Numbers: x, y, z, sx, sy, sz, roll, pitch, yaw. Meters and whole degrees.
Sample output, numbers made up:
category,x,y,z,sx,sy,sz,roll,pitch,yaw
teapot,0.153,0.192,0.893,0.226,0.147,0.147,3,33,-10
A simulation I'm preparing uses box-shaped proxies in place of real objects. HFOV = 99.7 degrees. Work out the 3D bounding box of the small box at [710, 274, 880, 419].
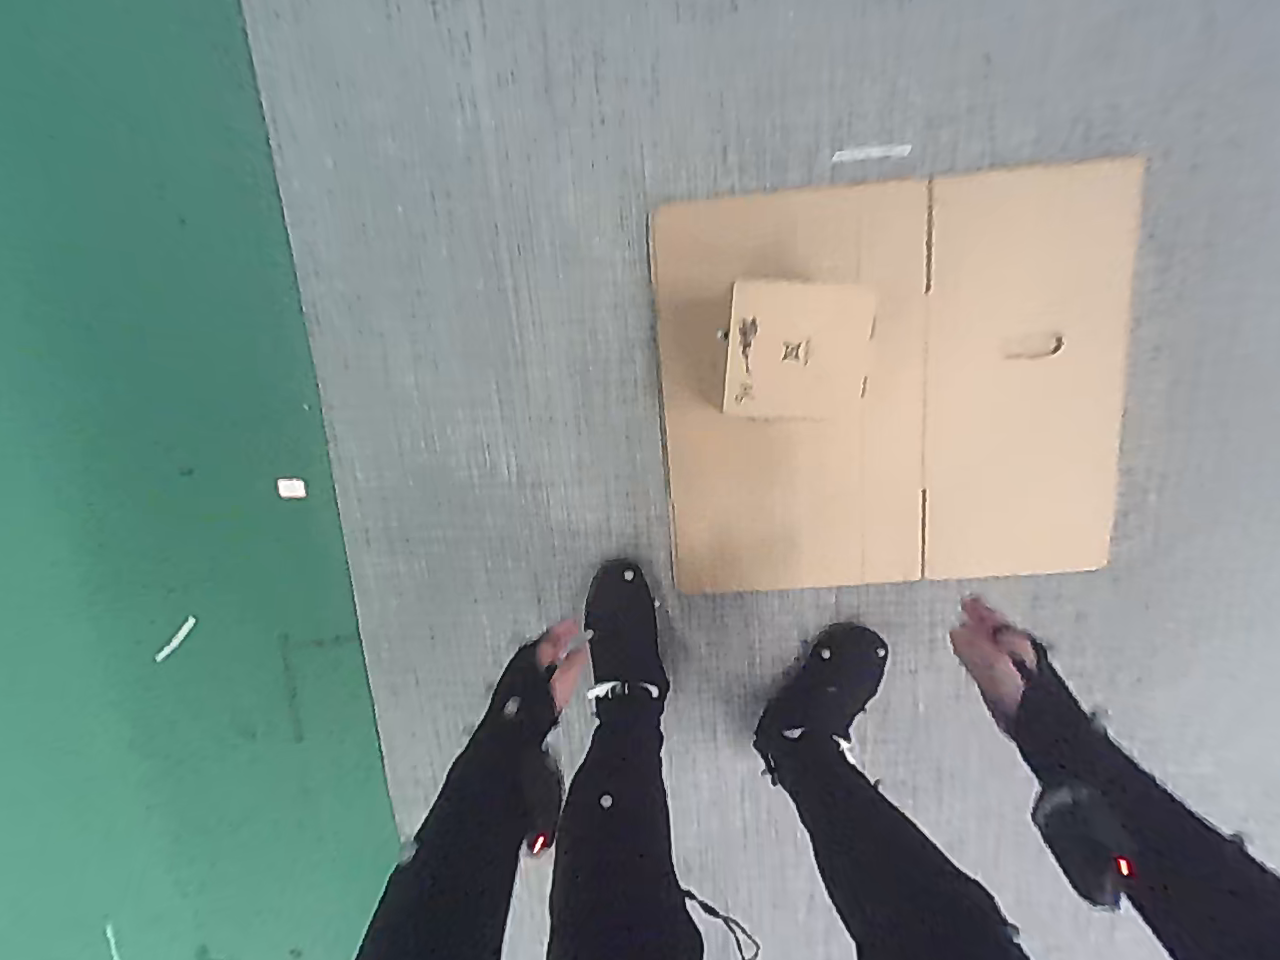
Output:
category,x,y,z,sx,sy,sz,roll,pitch,yaw
small box,0.198,-0.180,0.743,0.179,0.176,0.168,4,102,1
